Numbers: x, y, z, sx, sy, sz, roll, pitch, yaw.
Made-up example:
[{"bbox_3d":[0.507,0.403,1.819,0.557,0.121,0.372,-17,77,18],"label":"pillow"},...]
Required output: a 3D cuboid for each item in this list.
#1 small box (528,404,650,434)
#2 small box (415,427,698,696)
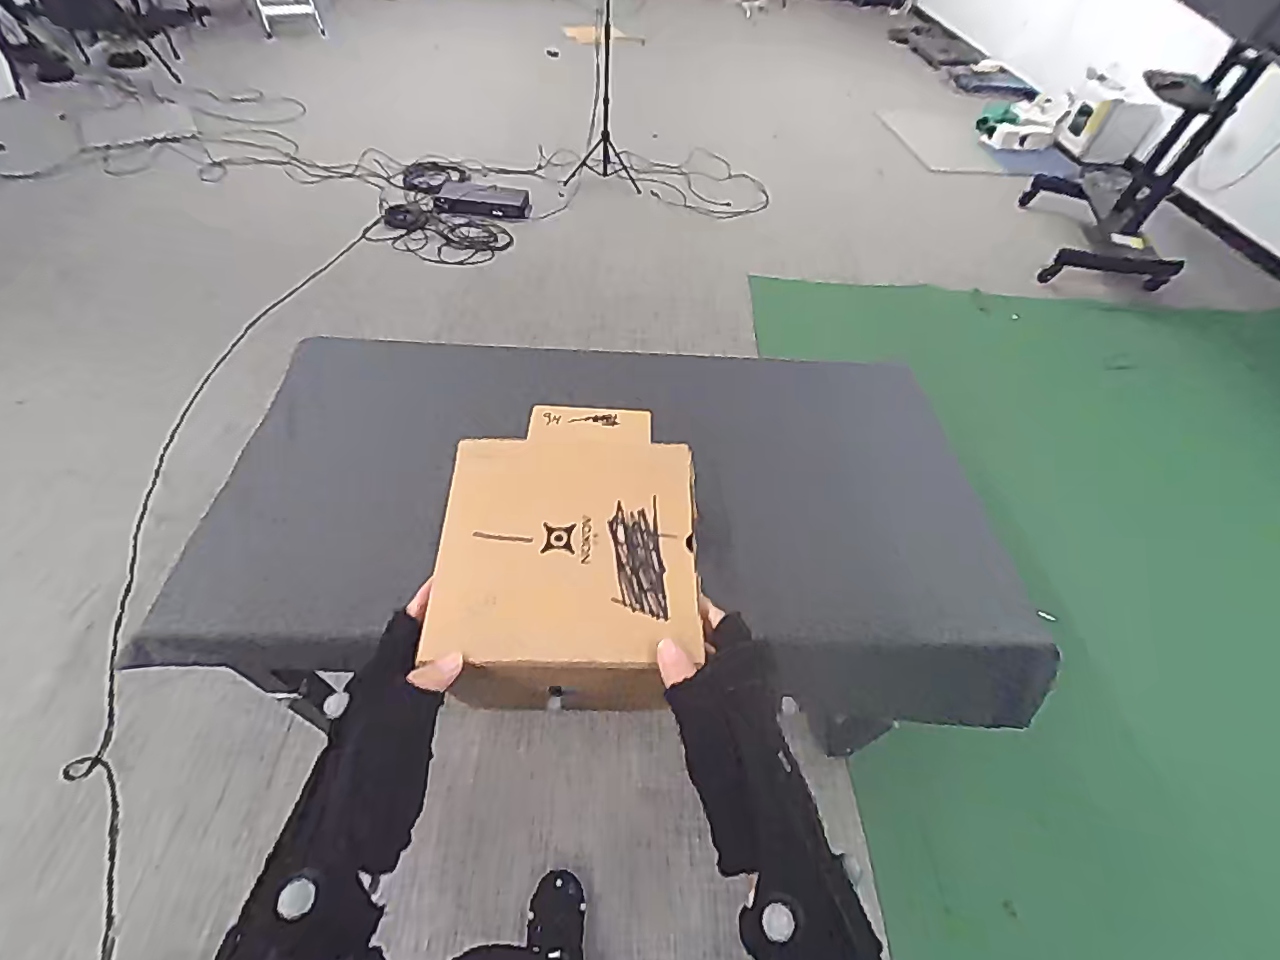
[{"bbox_3d":[-0.072,0.015,0.764,0.168,0.176,0.179,2,52,-2],"label":"small box"},{"bbox_3d":[-0.056,0.074,0.440,0.179,0.176,0.168,1,59,-3],"label":"small box"}]
